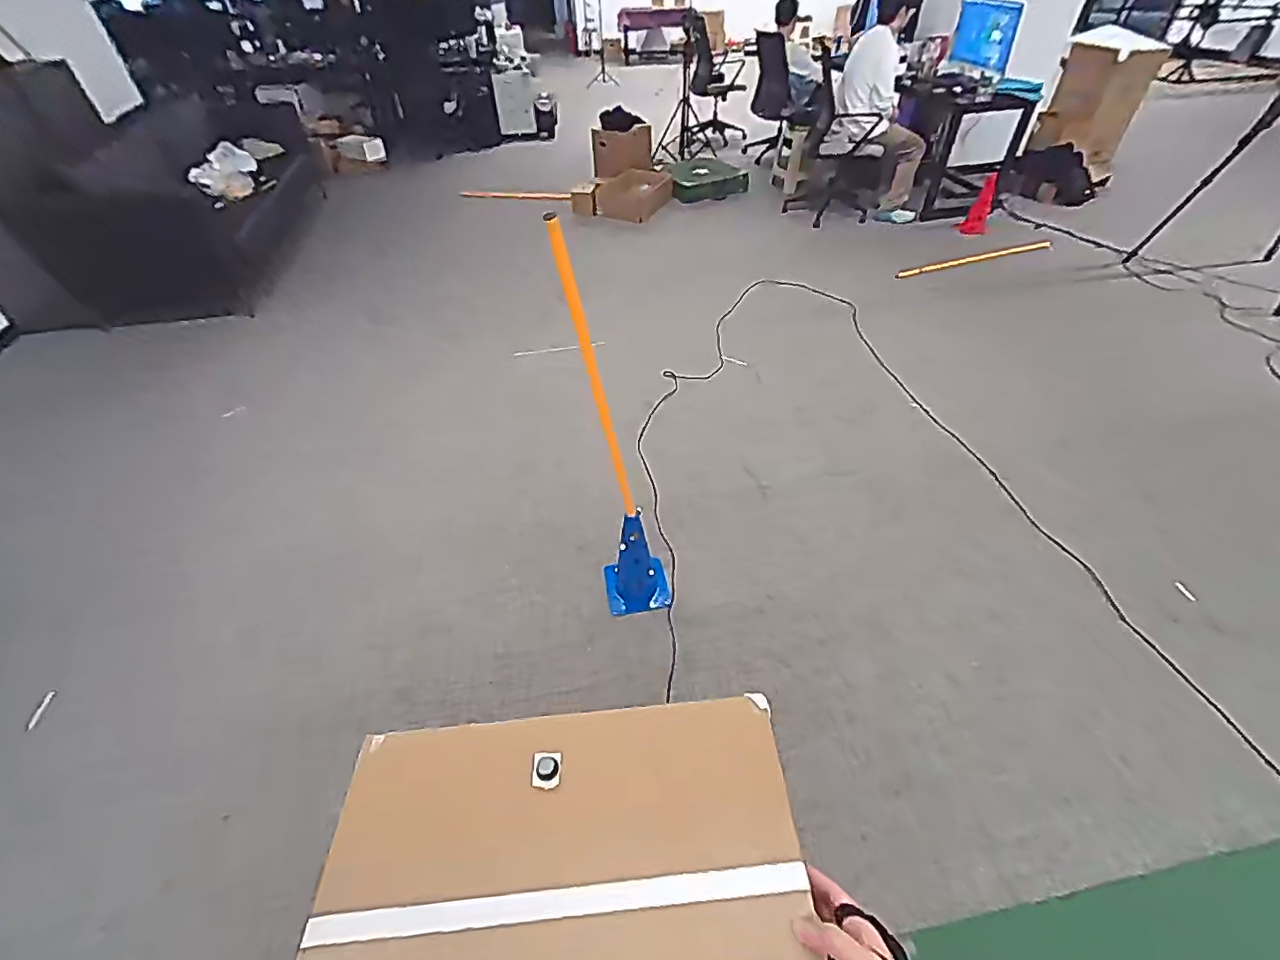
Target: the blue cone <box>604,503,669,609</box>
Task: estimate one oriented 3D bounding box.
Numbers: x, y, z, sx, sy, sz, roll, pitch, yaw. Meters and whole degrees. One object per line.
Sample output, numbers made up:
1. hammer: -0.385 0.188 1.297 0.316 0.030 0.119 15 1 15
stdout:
1. blue cone: -0.020 0.216 1.651 0.193 0.380 0.192 -11 45 -7
